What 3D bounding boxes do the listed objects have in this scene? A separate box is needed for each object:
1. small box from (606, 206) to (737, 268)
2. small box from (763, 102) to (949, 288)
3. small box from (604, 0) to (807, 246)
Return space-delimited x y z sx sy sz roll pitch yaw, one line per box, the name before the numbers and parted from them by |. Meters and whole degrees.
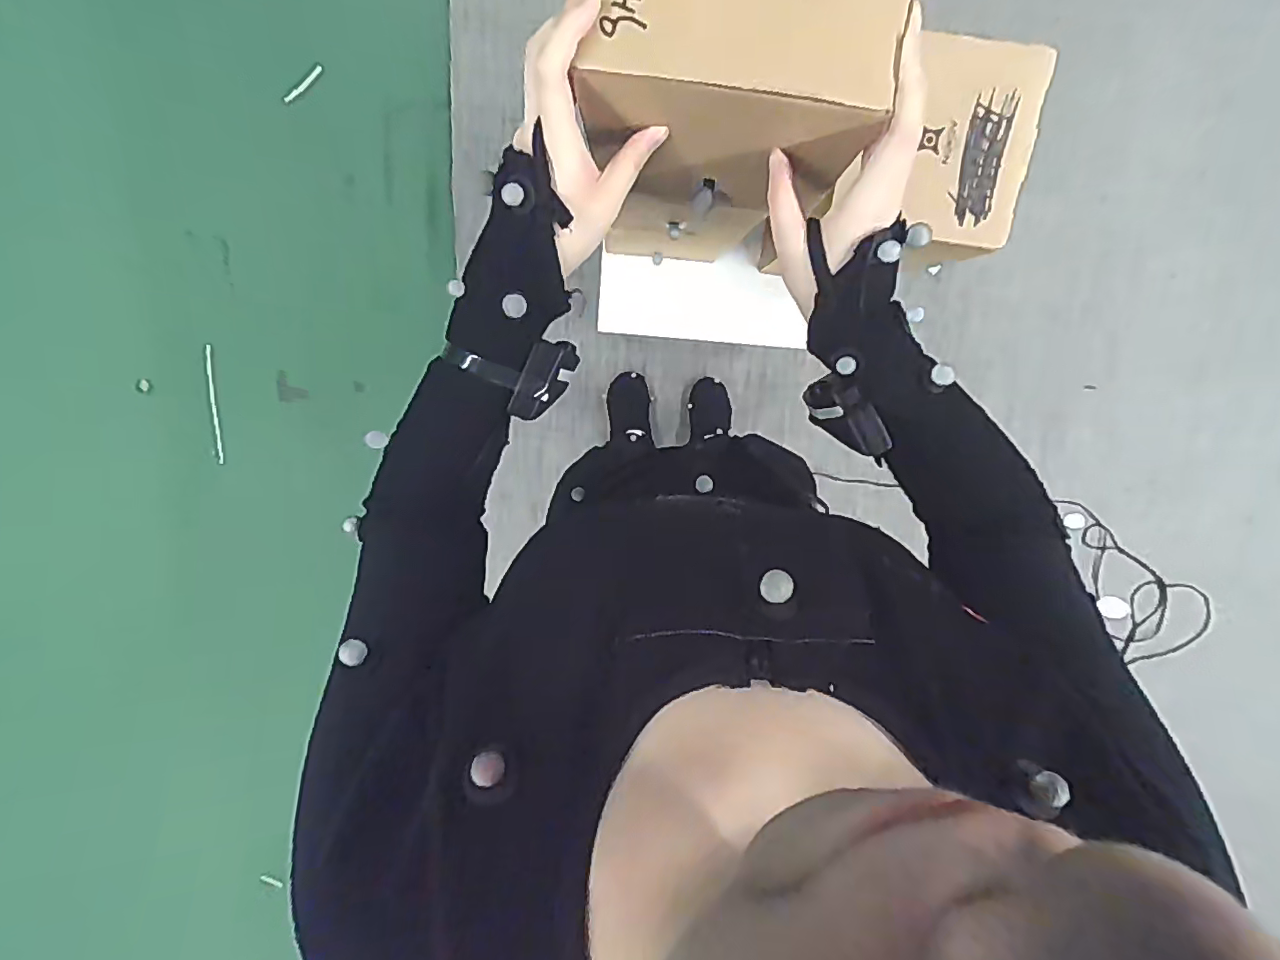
small box | 0.044 -0.393 0.719 0.168 0.176 0.179 5 104 -3
small box | 0.273 -0.366 0.728 0.168 0.176 0.179 5 104 -2
small box | 0.053 -0.358 0.558 0.168 0.176 0.179 6 104 -3
